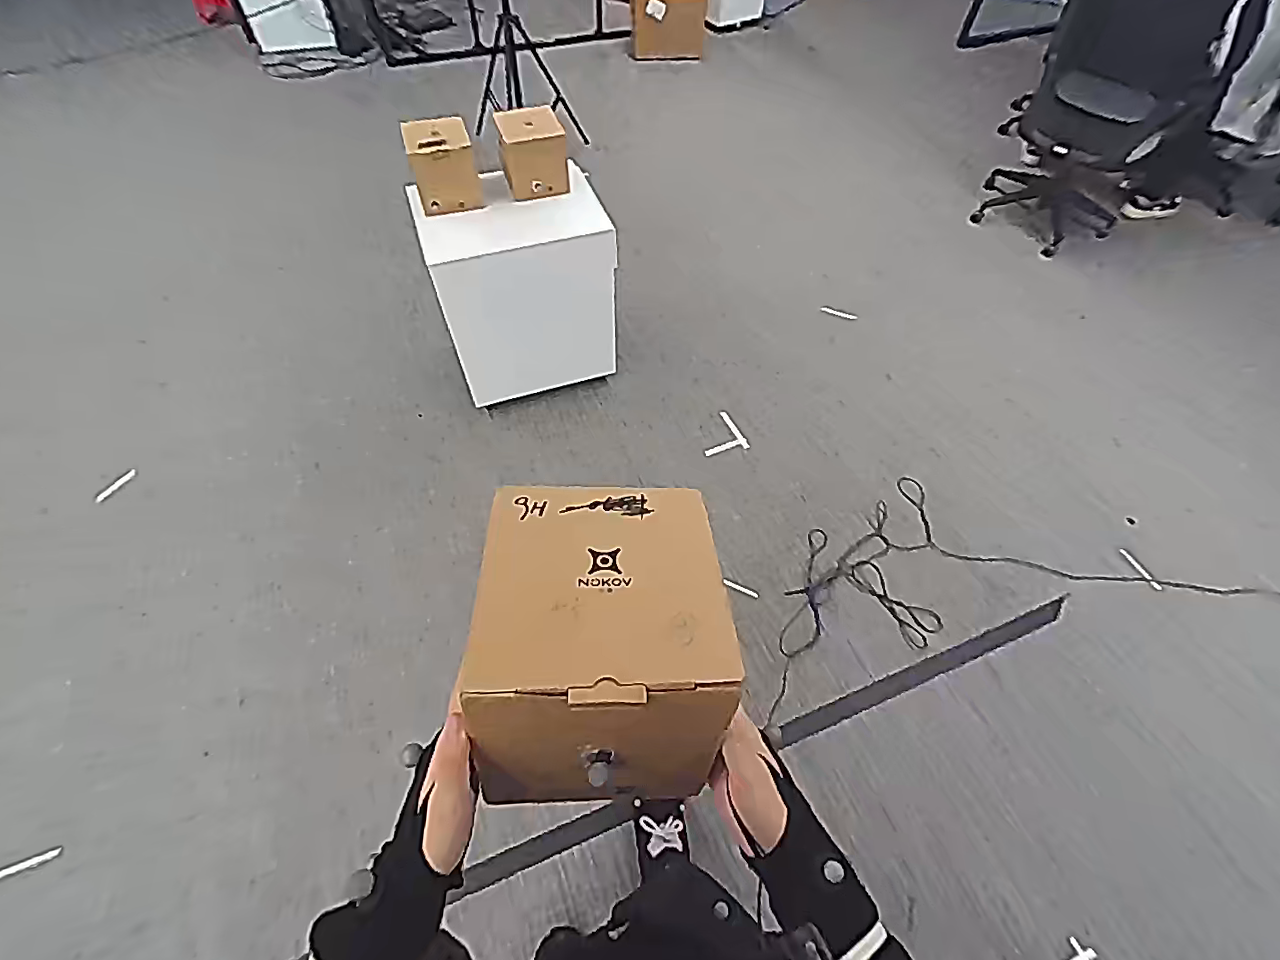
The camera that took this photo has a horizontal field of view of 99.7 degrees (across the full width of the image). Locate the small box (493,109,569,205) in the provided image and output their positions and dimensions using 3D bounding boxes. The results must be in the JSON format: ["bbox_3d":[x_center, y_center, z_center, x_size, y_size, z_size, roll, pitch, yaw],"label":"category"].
[{"bbox_3d":[-0.308,-0.919,1.542,0.168,0.176,0.179,-18,61,-11],"label":"small box"}]

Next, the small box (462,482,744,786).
[{"bbox_3d":[-0.031,0.121,0.421,0.168,0.176,0.179,1,42,-7],"label":"small box"}]

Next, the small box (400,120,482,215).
[{"bbox_3d":[-0.543,-0.853,1.488,0.168,0.176,0.179,-15,58,-12],"label":"small box"}]
